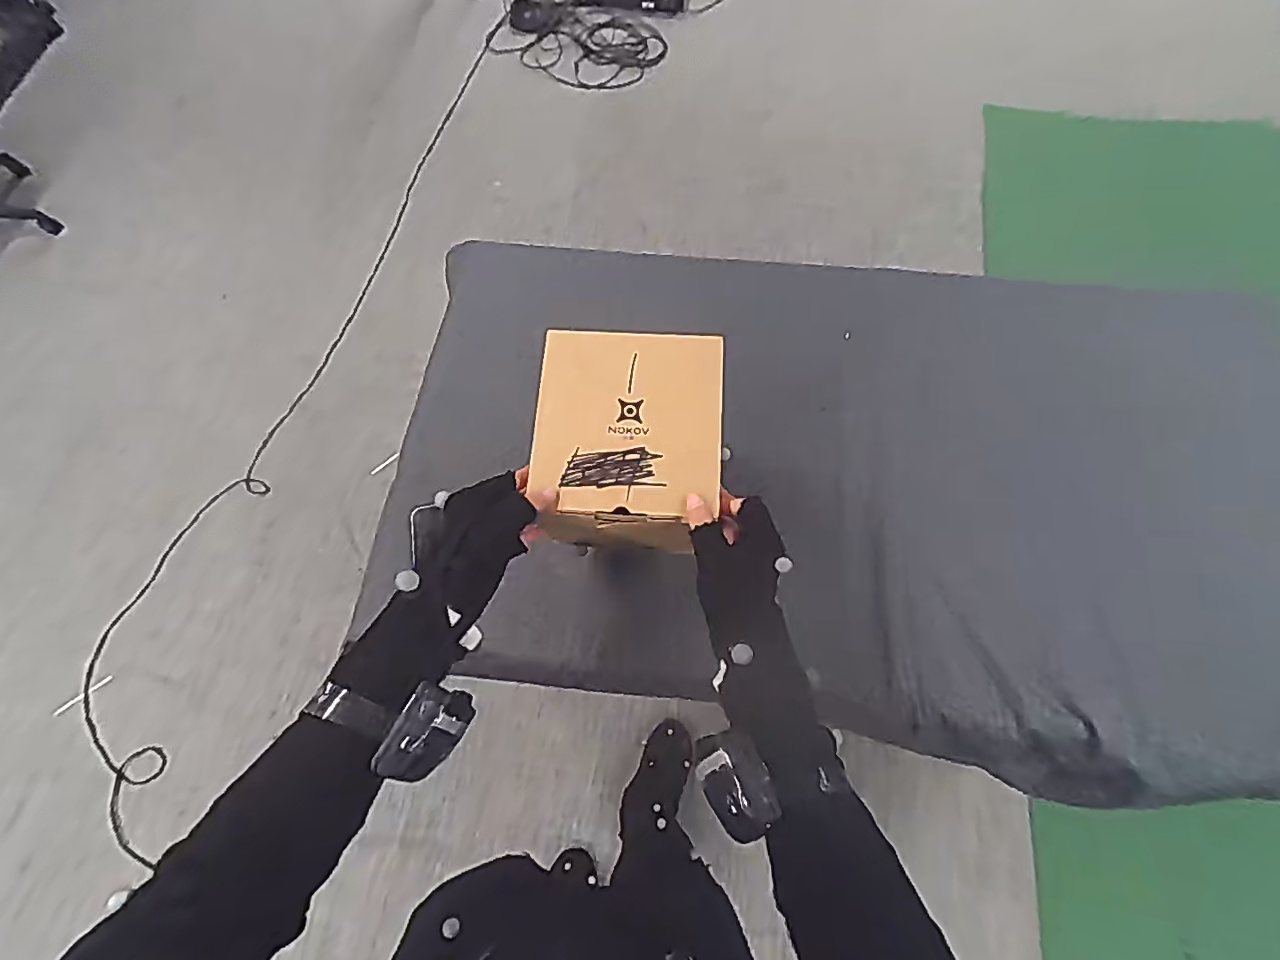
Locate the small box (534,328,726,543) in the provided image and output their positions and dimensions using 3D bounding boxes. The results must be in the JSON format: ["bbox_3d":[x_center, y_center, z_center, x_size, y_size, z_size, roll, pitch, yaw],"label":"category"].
[{"bbox_3d":[-0.003,-0.035,0.561,0.168,0.176,0.179,3,73,2],"label":"small box"}]
